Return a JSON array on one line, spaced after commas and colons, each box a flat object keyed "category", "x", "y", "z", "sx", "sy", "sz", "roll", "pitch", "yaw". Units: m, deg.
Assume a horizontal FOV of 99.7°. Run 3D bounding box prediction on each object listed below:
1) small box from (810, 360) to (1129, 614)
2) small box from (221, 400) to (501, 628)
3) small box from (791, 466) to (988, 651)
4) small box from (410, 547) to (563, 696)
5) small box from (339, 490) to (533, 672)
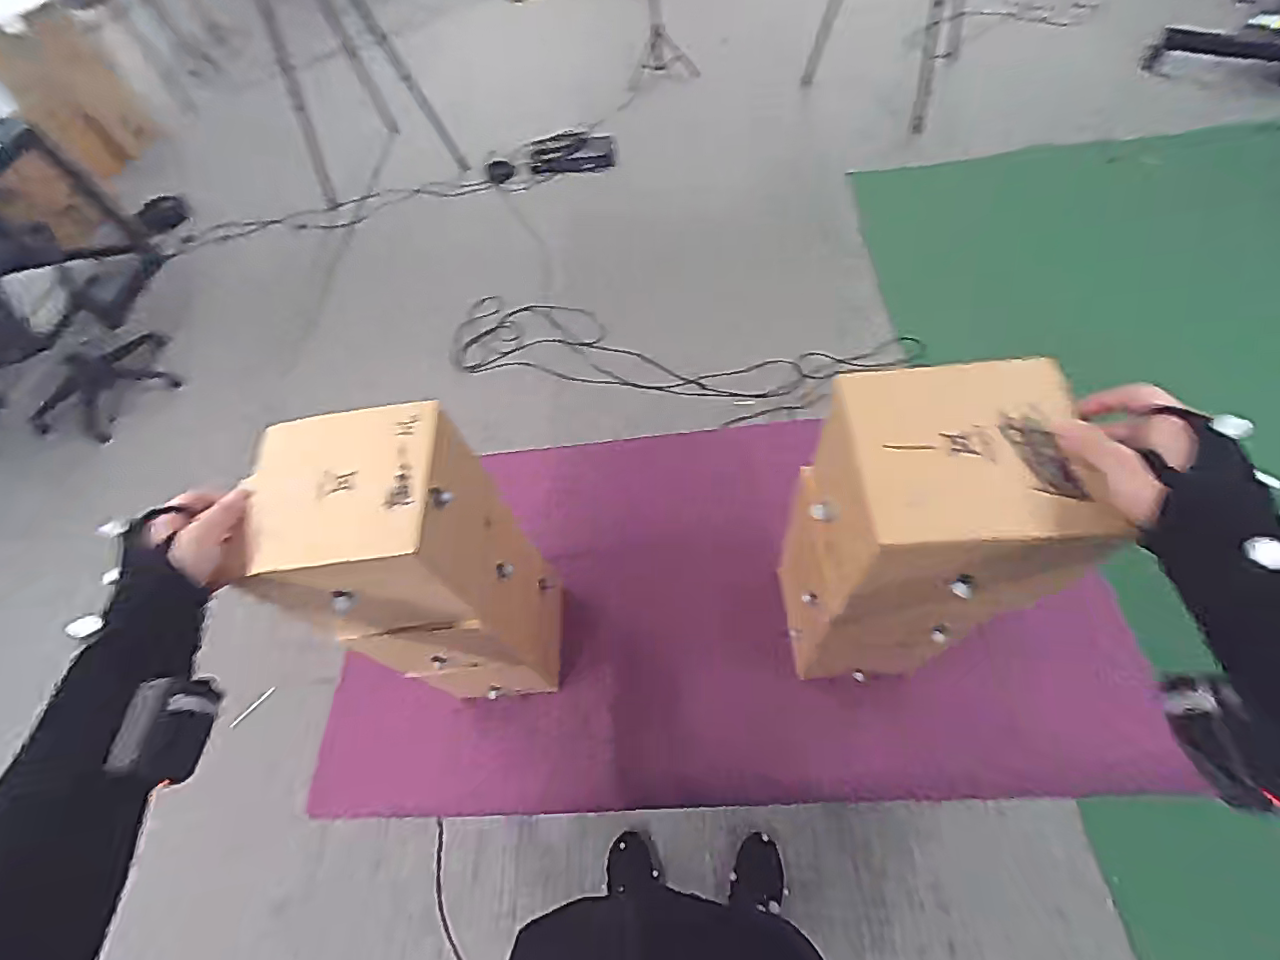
[{"category": "small box", "x": 0.263, "y": 0.015, "z": 0.487, "sx": 0.179, "sy": 0.176, "sz": 0.168, "roll": -3, "pitch": 58, "yaw": 8}, {"category": "small box", "x": -0.263, "y": 0.044, "z": 0.559, "sx": 0.179, "sy": 0.176, "sz": 0.168, "roll": -8, "pitch": 57, "yaw": 5}, {"category": "small box", "x": 0.277, "y": 0.094, "z": 0.629, "sx": 0.168, "sy": 0.176, "sz": 0.179, "roll": -5, "pitch": 57, "yaw": 6}, {"category": "small box", "x": -0.220, "y": 0.221, "z": 0.829, "sx": 0.168, "sy": 0.176, "sz": 0.179, "roll": -6, "pitch": 57, "yaw": 6}, {"category": "small box", "x": -0.242, "y": 0.133, "z": 0.695, "sx": 0.168, "sy": 0.176, "sz": 0.179, "roll": -6, "pitch": 57, "yaw": 5}]
